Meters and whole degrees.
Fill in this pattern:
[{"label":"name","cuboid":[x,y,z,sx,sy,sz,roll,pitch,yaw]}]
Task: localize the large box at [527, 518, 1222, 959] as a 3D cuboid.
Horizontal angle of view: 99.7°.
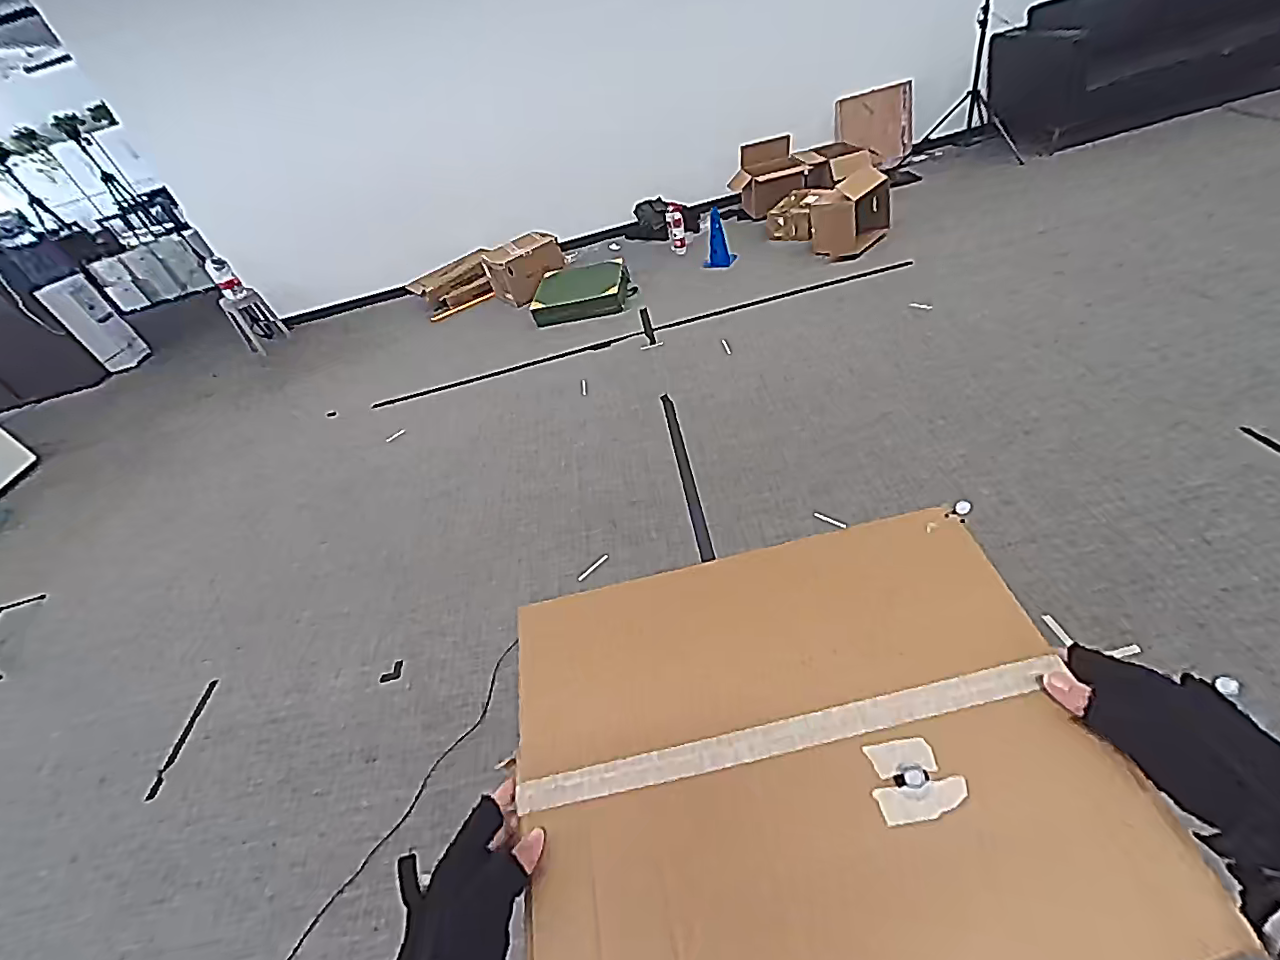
[{"label":"large box","cuboid":[0.138,0.291,0.515,0.408,0.320,0.320,-14,49,0]}]
